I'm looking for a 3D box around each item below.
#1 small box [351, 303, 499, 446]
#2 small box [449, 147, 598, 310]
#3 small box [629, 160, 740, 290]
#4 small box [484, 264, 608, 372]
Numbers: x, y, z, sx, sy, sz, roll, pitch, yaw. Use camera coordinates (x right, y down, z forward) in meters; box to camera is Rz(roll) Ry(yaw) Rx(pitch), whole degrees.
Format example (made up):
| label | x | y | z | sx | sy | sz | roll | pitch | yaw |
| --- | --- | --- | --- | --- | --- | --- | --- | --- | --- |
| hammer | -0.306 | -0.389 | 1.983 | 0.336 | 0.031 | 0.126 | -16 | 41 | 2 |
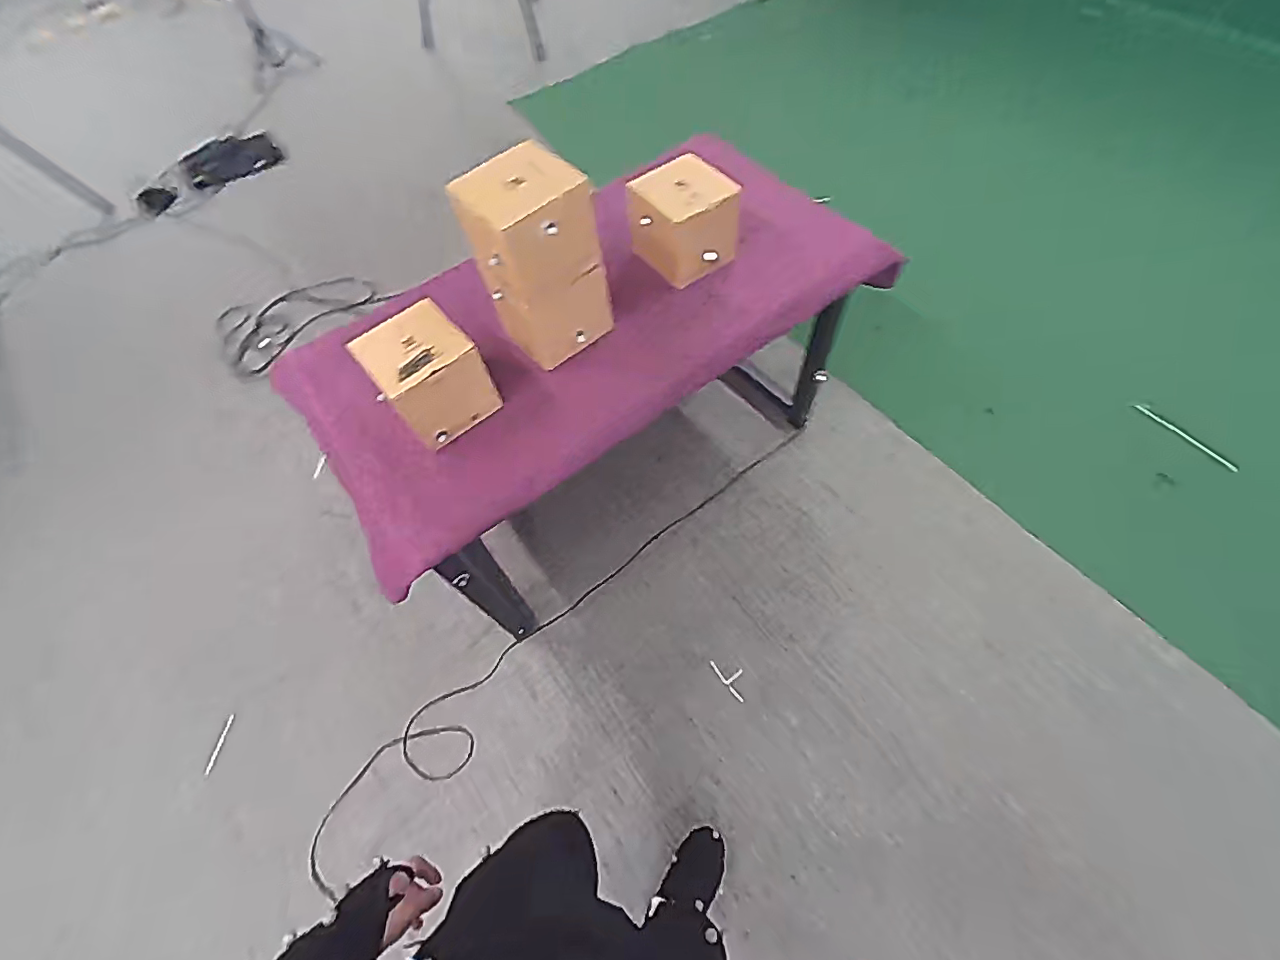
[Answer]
| label | x | y | z | sx | sy | sz | roll | pitch | yaw |
| --- | --- | --- | --- | --- | --- | --- | --- | --- | --- |
| small box | -0.392 | -0.187 | 1.014 | 0.168 | 0.176 | 0.179 | -38 | 63 | -16 |
| small box | -0.193 | -0.435 | 0.949 | 0.179 | 0.176 | 0.168 | -39 | 65 | -15 |
| small box | 0.094 | -0.551 | 1.177 | 0.168 | 0.176 | 0.179 | -33 | 63 | -13 |
| small box | -0.179 | -0.356 | 1.092 | 0.179 | 0.176 | 0.168 | -38 | 64 | -16 |
